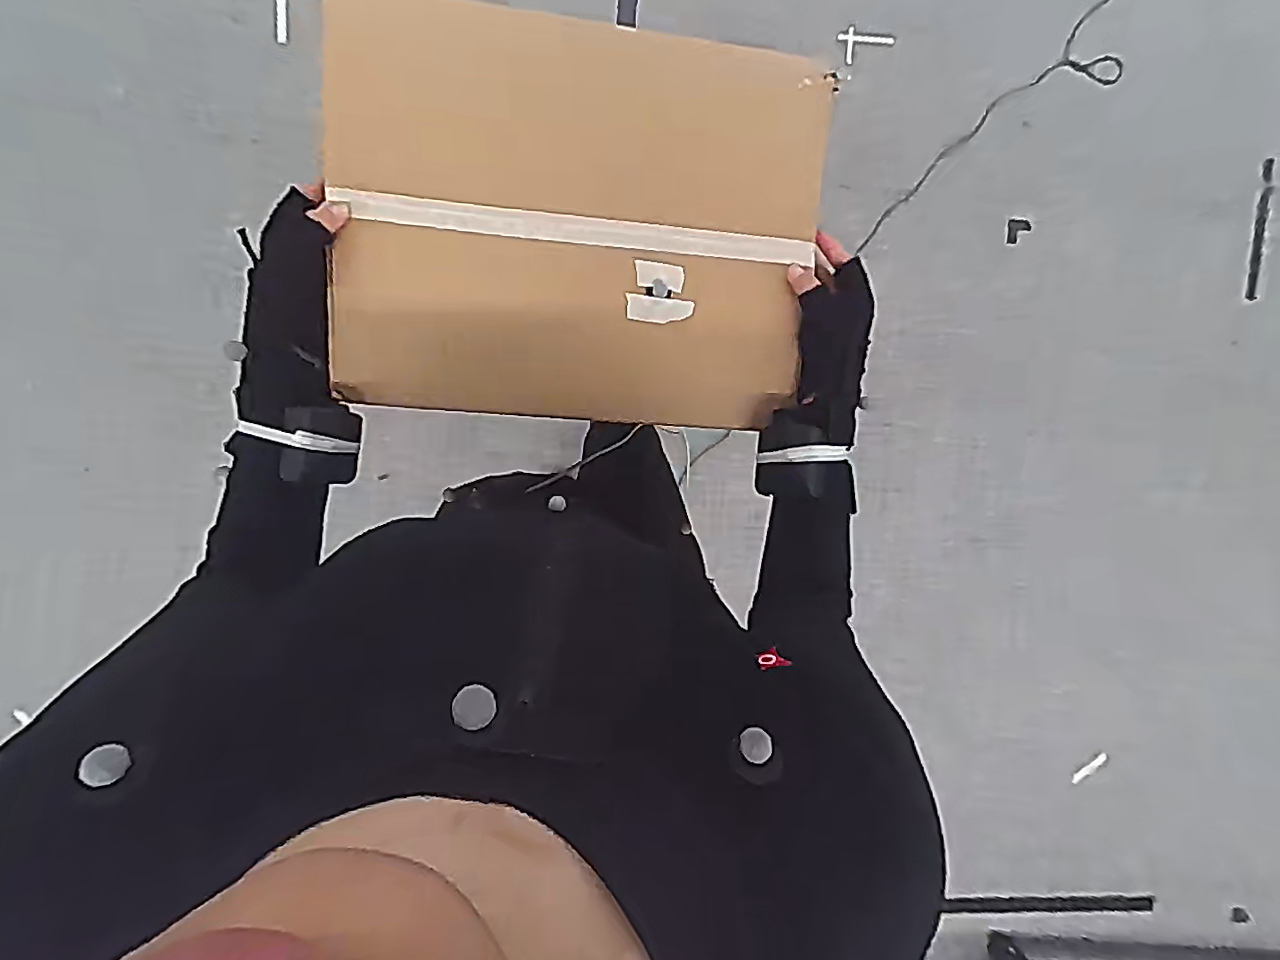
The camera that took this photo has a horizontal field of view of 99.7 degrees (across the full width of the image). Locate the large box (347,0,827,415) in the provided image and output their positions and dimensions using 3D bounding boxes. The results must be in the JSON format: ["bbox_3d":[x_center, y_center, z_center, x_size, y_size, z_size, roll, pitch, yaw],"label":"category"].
[{"bbox_3d":[-0.062,-0.246,0.613,0.408,0.320,0.320,3,100,-8],"label":"large box"}]
